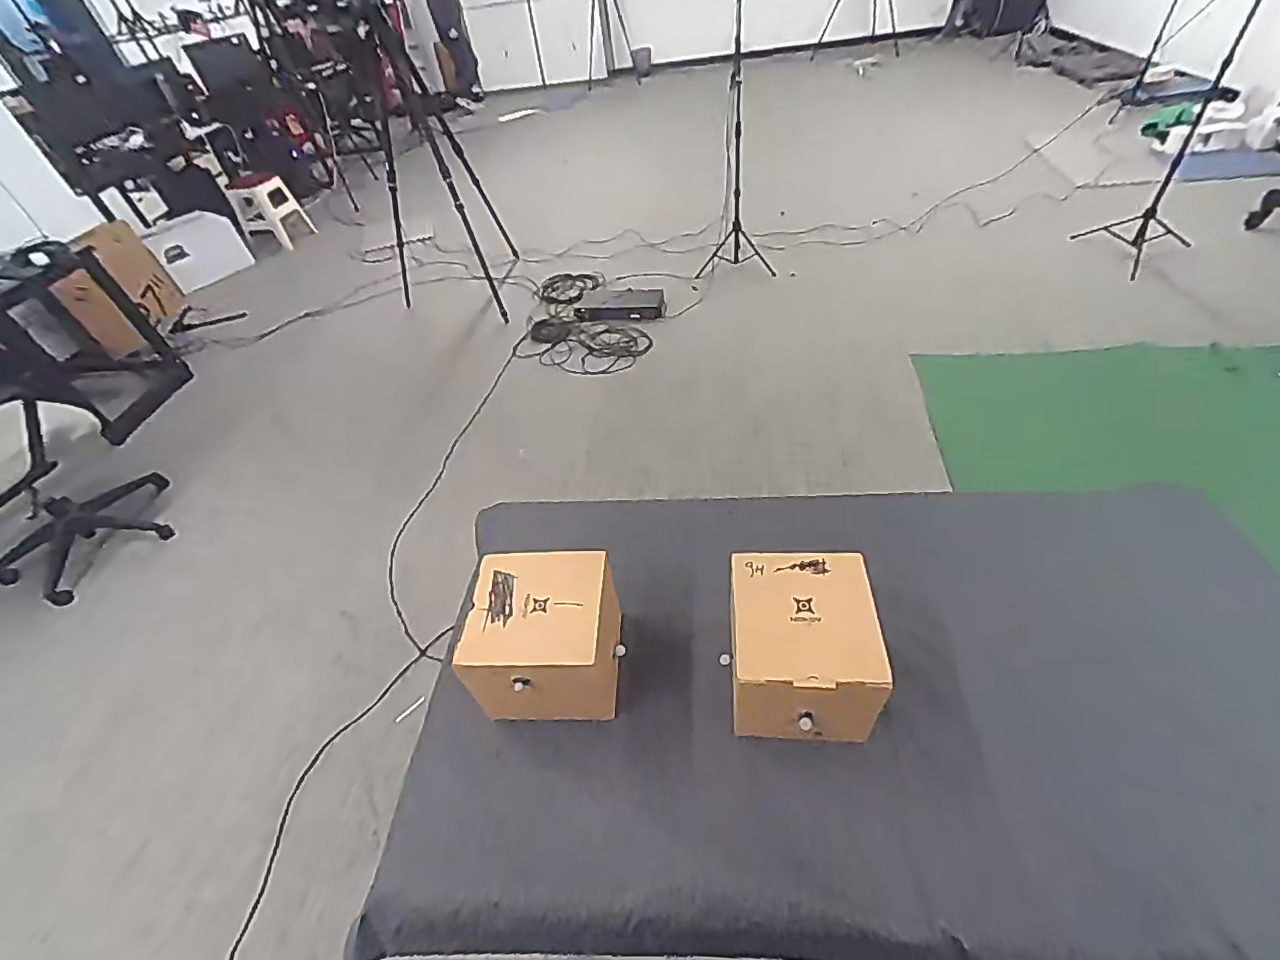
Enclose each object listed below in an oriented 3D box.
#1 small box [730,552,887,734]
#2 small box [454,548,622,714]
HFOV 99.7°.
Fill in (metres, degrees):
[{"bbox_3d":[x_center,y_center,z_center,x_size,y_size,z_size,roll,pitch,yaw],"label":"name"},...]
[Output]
[{"bbox_3d":[0.202,0.212,0.699,0.168,0.176,0.179,-1,47,8],"label":"small box"},{"bbox_3d":[-0.126,0.211,0.748,0.179,0.176,0.168,-2,46,5],"label":"small box"}]
